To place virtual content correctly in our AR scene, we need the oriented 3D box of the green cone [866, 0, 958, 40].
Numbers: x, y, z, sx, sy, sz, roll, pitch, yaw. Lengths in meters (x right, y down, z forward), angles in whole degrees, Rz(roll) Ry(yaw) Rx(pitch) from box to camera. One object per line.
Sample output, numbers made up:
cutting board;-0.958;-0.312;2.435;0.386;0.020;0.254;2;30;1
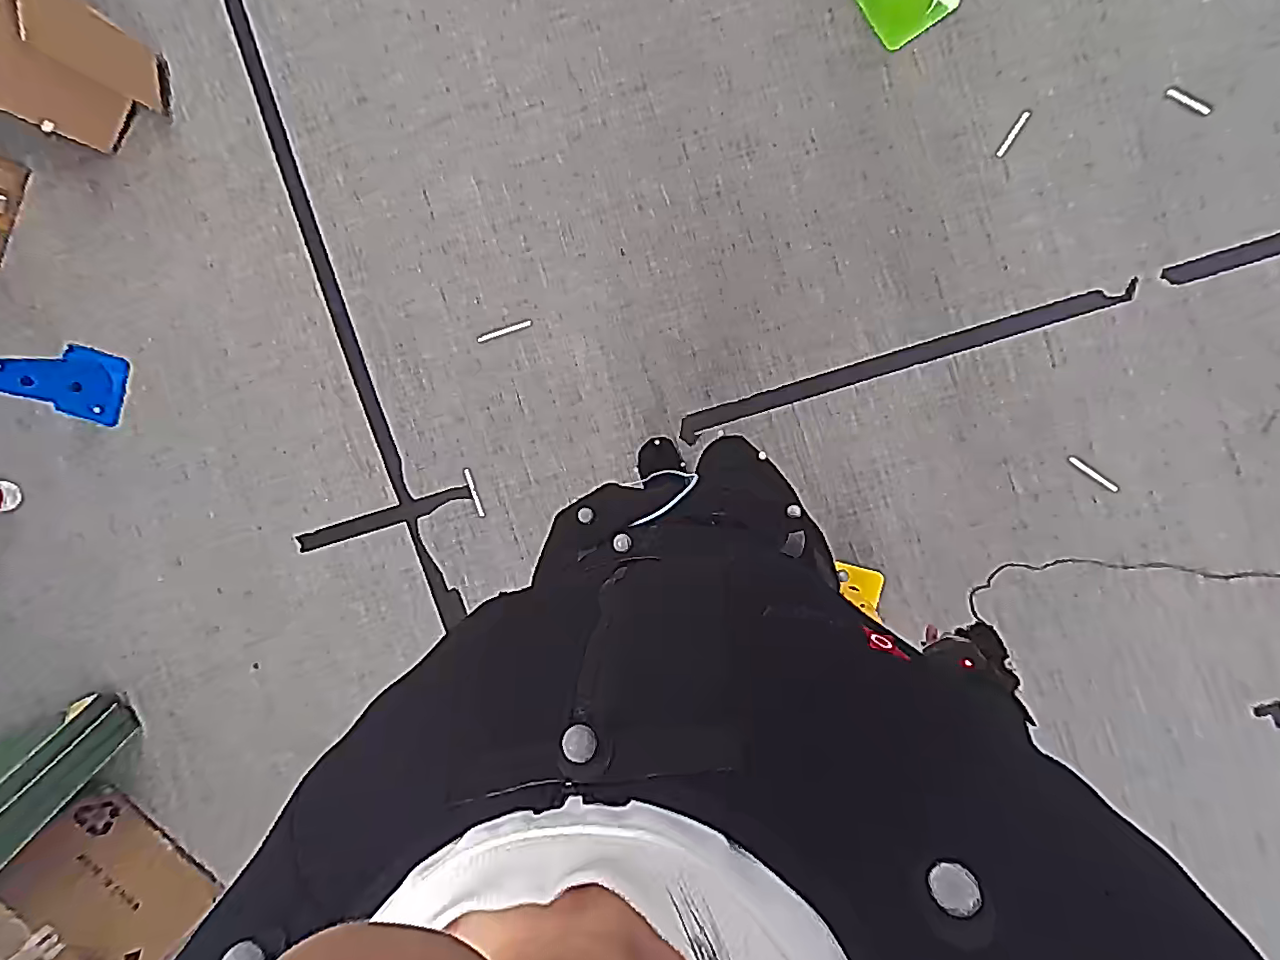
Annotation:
green cone;0.634;-1.179;1.127;0.202;0.368;0.200;-33;91;5
